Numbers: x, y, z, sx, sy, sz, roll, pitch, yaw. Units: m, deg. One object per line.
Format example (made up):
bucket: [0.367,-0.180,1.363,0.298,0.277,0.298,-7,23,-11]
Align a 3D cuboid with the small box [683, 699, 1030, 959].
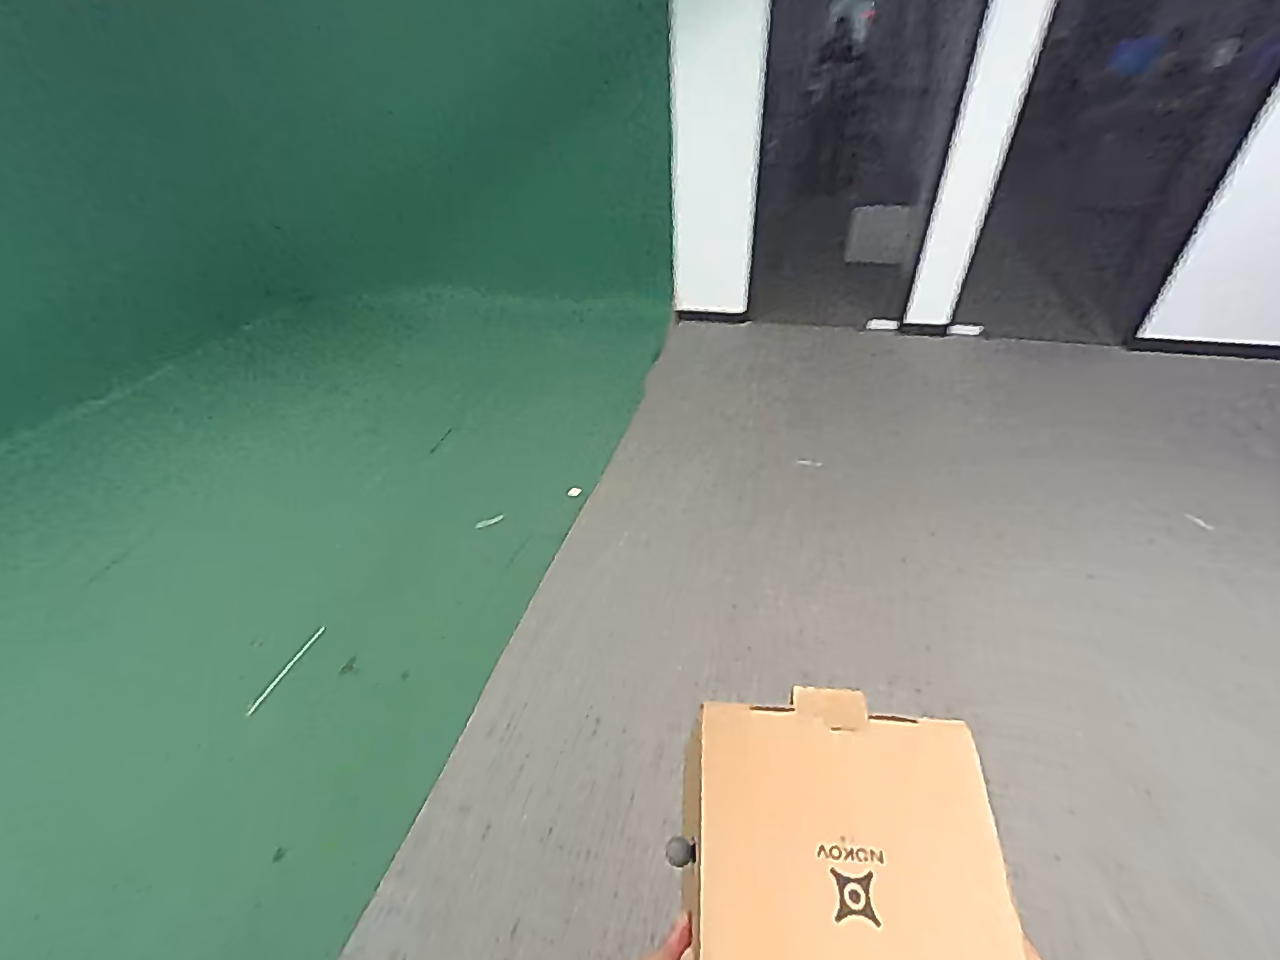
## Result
small box: [0.116,0.259,0.353,0.168,0.176,0.179,3,54,3]
